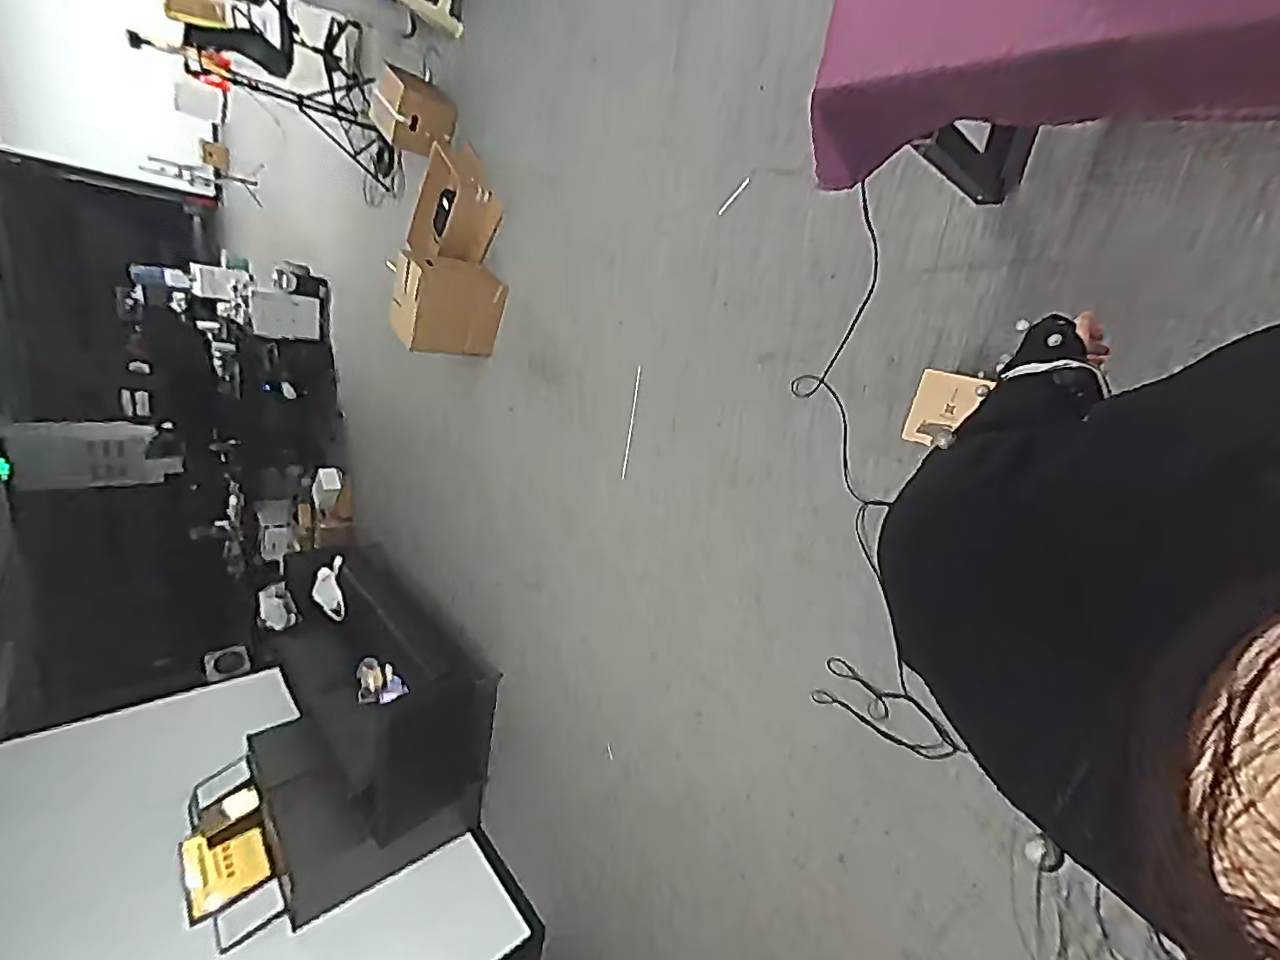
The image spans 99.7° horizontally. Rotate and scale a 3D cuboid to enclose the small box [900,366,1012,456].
[{"bbox_3d":[0.767,-0.169,1.309,0.168,0.176,0.179,27,113,41],"label":"small box"}]
